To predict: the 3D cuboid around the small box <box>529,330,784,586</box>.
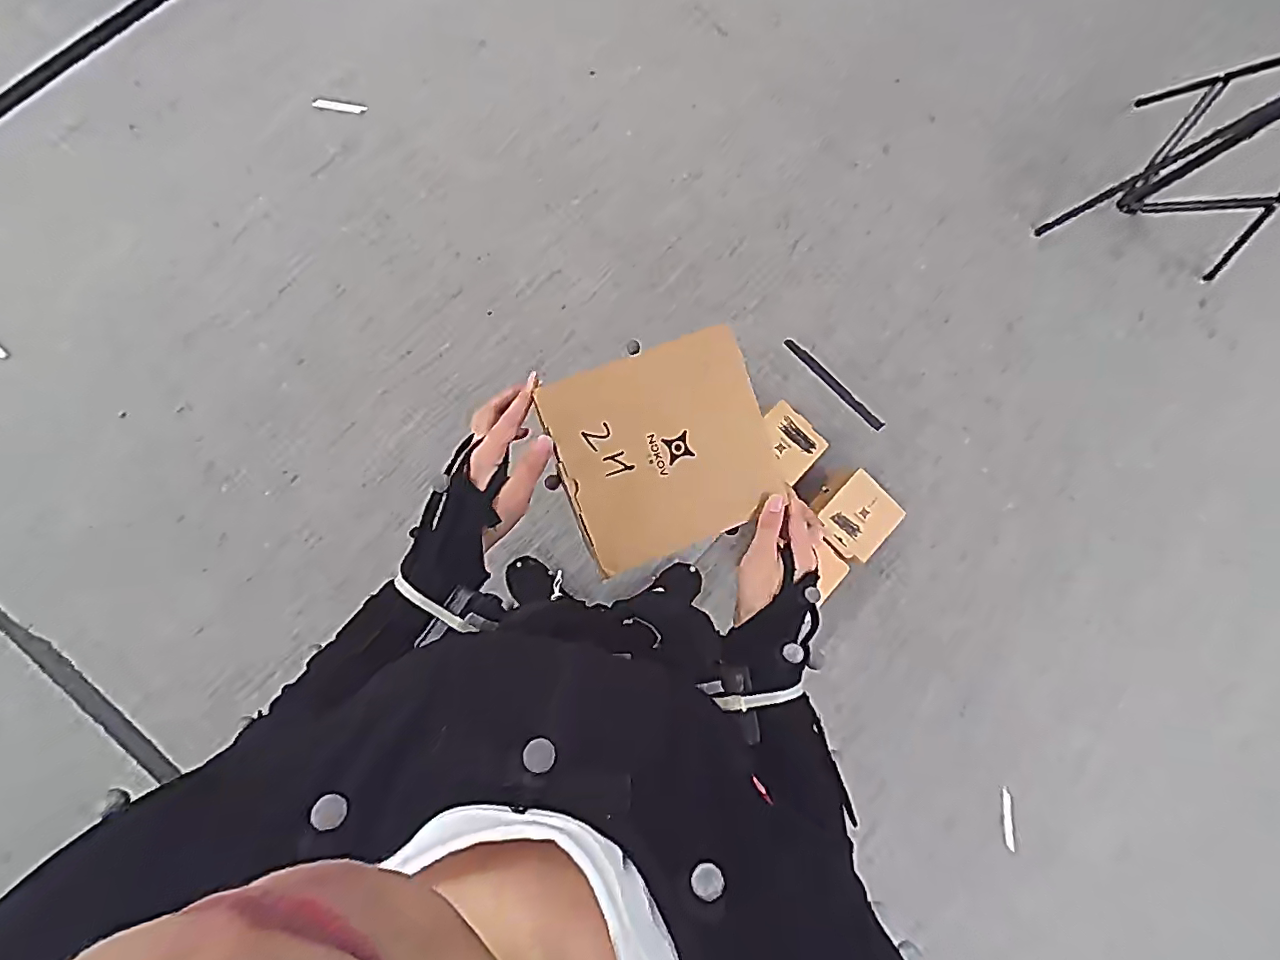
[{"bbox_3d":[0.002,-0.025,0.514,0.179,0.176,0.168,-21,97,-9],"label":"small box"}]
